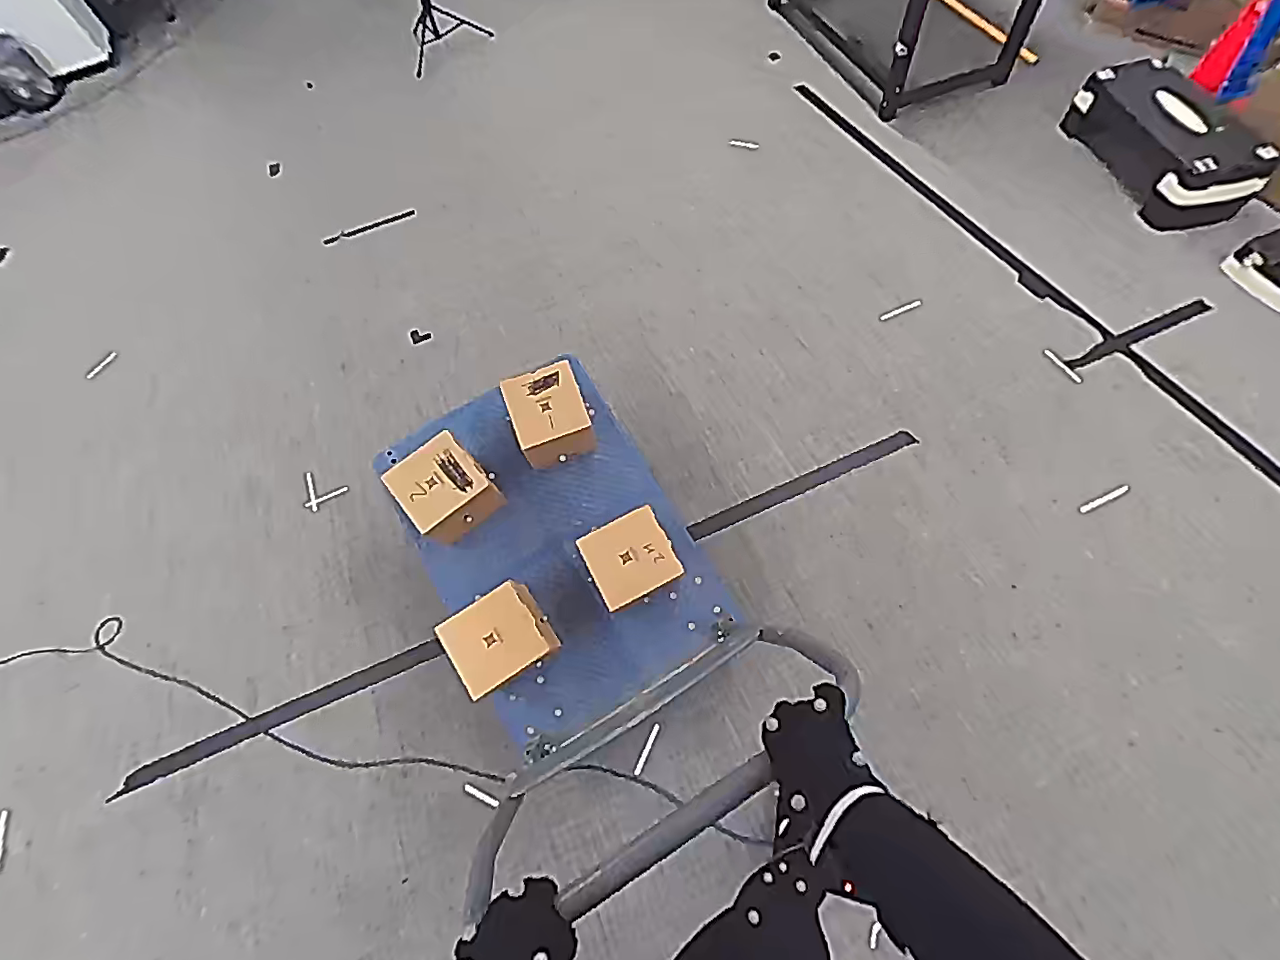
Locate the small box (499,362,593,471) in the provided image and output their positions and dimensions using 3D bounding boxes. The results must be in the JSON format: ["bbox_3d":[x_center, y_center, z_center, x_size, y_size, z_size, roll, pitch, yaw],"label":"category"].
[{"bbox_3d":[-0.216,-0.144,1.278,0.168,0.176,0.179,-20,77,-6],"label":"small box"}]

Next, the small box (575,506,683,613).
[{"bbox_3d":[-0.023,0.182,1.189,0.179,0.176,0.168,-27,77,-8],"label":"small box"}]

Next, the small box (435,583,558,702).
[{"bbox_3d":[-0.293,0.340,1.142,0.179,0.176,0.168,-34,78,-10],"label":"small box"}]
